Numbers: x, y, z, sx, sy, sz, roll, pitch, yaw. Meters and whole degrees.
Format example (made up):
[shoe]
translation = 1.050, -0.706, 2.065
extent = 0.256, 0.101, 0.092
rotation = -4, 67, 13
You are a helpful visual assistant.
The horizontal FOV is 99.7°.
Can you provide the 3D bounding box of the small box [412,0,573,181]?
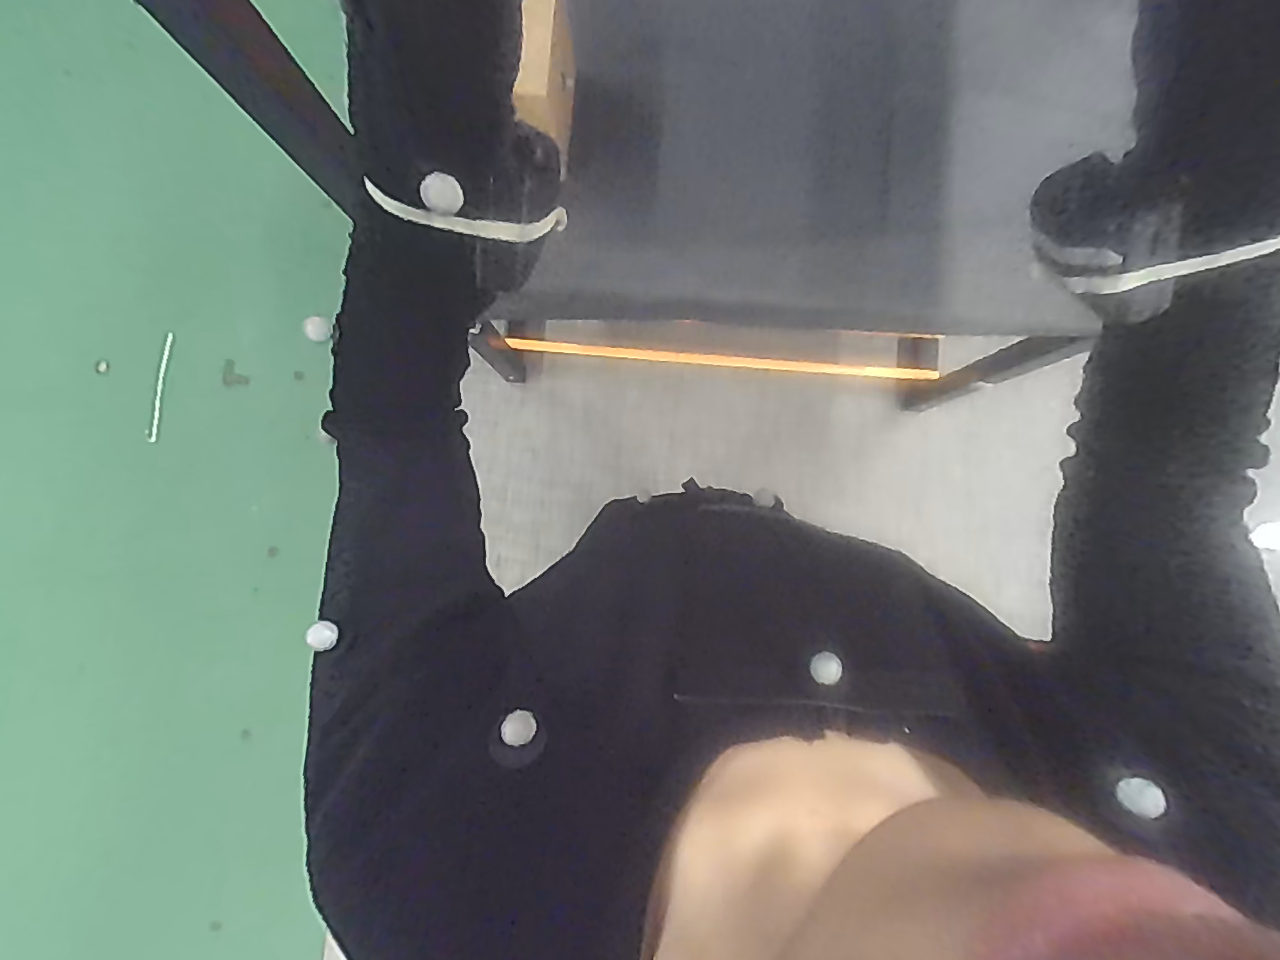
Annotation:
[small box]
translation = -0.186, -0.544, 0.731
extent = 0.168, 0.176, 0.179
rotation = 4, 86, 0
